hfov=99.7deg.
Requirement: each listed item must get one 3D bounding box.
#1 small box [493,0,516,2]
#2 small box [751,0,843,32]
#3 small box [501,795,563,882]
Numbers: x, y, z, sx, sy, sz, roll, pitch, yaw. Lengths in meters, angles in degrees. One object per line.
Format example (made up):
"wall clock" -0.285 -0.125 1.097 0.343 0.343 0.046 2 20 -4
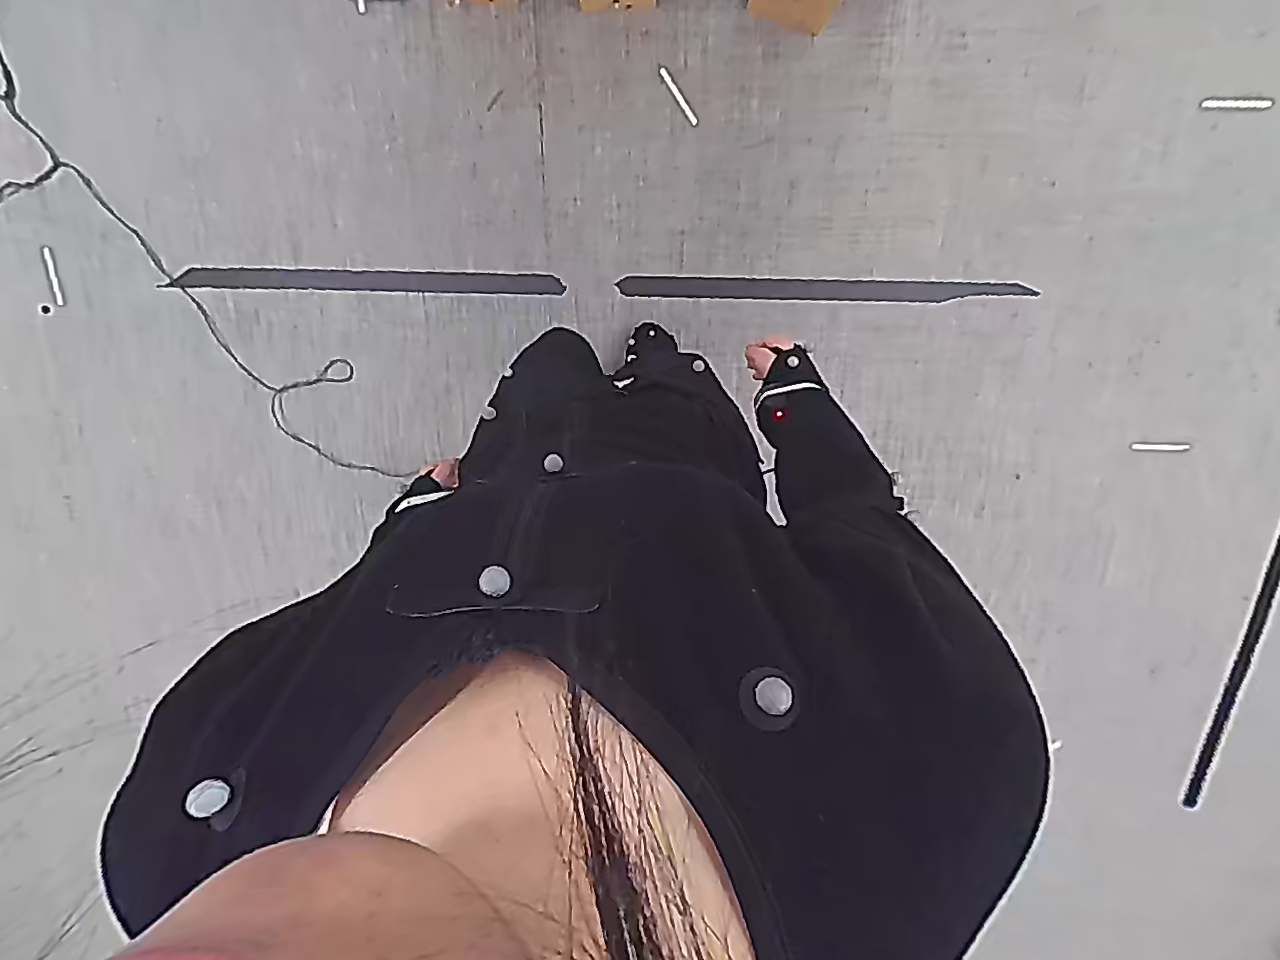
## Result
"small box" -0.344 -1.117 1.097 0.168 0.176 0.179 2 105 0
"small box" 0.346 -1.066 1.105 0.179 0.176 0.168 17 107 -3
"small box" -0.349 1.176 1.777 0.168 0.176 0.179 0 107 1
